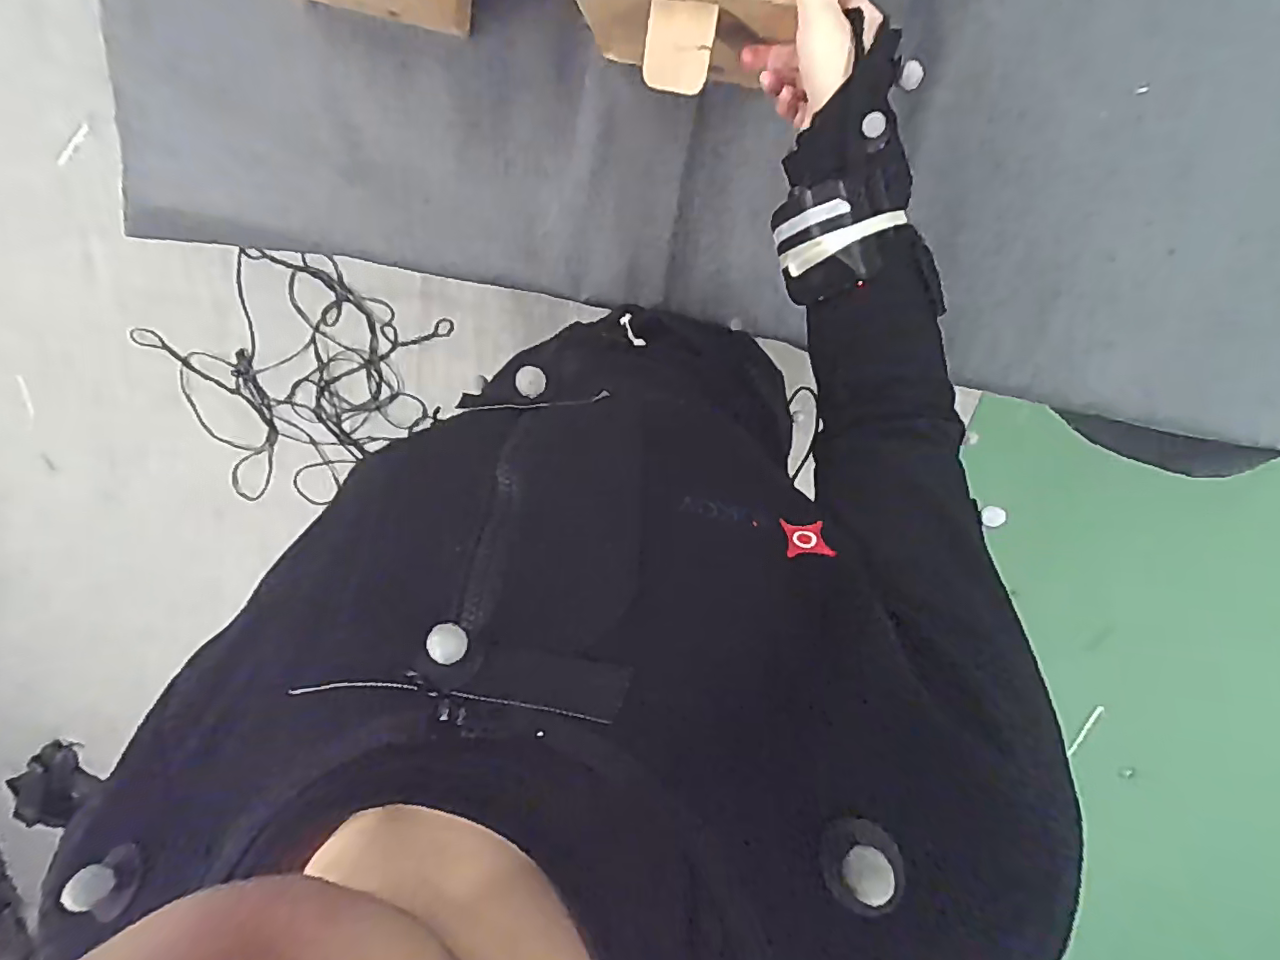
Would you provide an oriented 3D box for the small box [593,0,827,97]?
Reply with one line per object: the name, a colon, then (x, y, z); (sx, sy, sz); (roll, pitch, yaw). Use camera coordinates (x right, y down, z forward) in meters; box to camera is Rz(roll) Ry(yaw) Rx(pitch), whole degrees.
small box: (0.057, -0.402, 0.373); (0.168, 0.176, 0.179); (13, 113, 3)
